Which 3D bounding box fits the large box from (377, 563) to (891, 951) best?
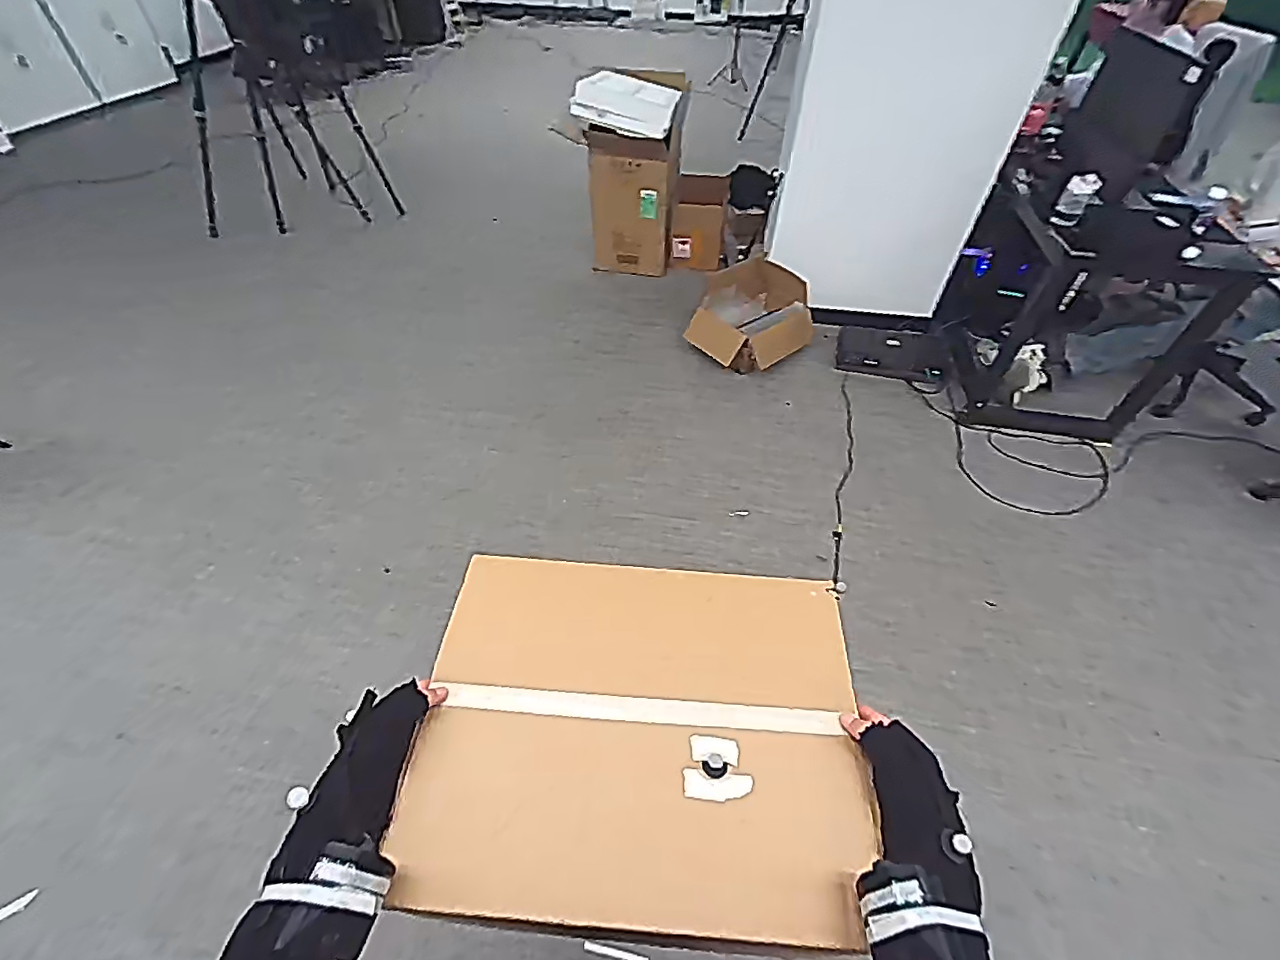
[{"bbox_3d":[-0.005,0.319,0.619,0.408,0.320,0.320,4,48,1],"label":"large box"}]
